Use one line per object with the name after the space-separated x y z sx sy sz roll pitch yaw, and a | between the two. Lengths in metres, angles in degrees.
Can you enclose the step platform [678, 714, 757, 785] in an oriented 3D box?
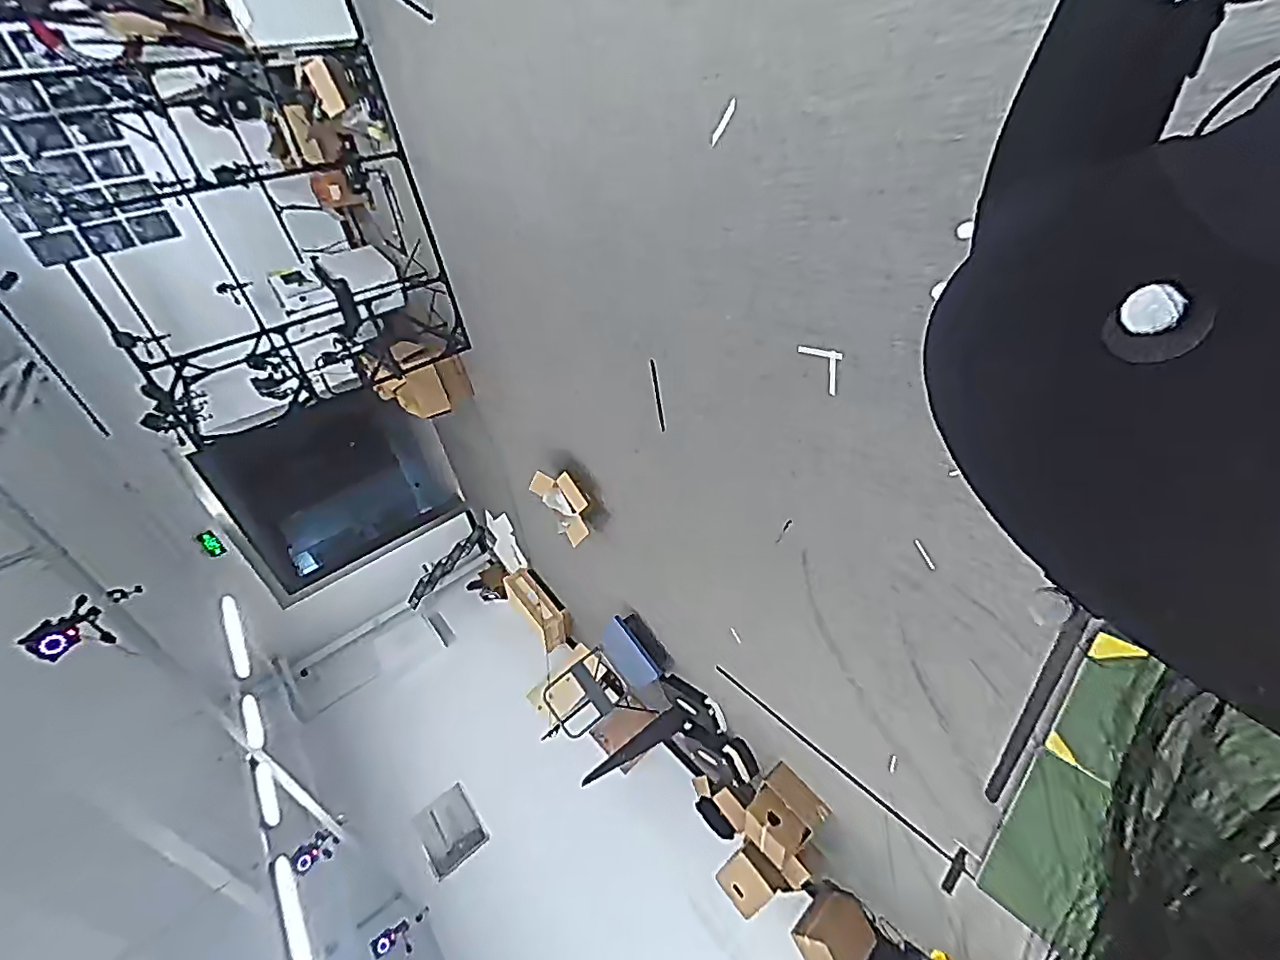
0.575 2.067 4.168 0.684 0.204 0.286 -11 108 60 | step platform
